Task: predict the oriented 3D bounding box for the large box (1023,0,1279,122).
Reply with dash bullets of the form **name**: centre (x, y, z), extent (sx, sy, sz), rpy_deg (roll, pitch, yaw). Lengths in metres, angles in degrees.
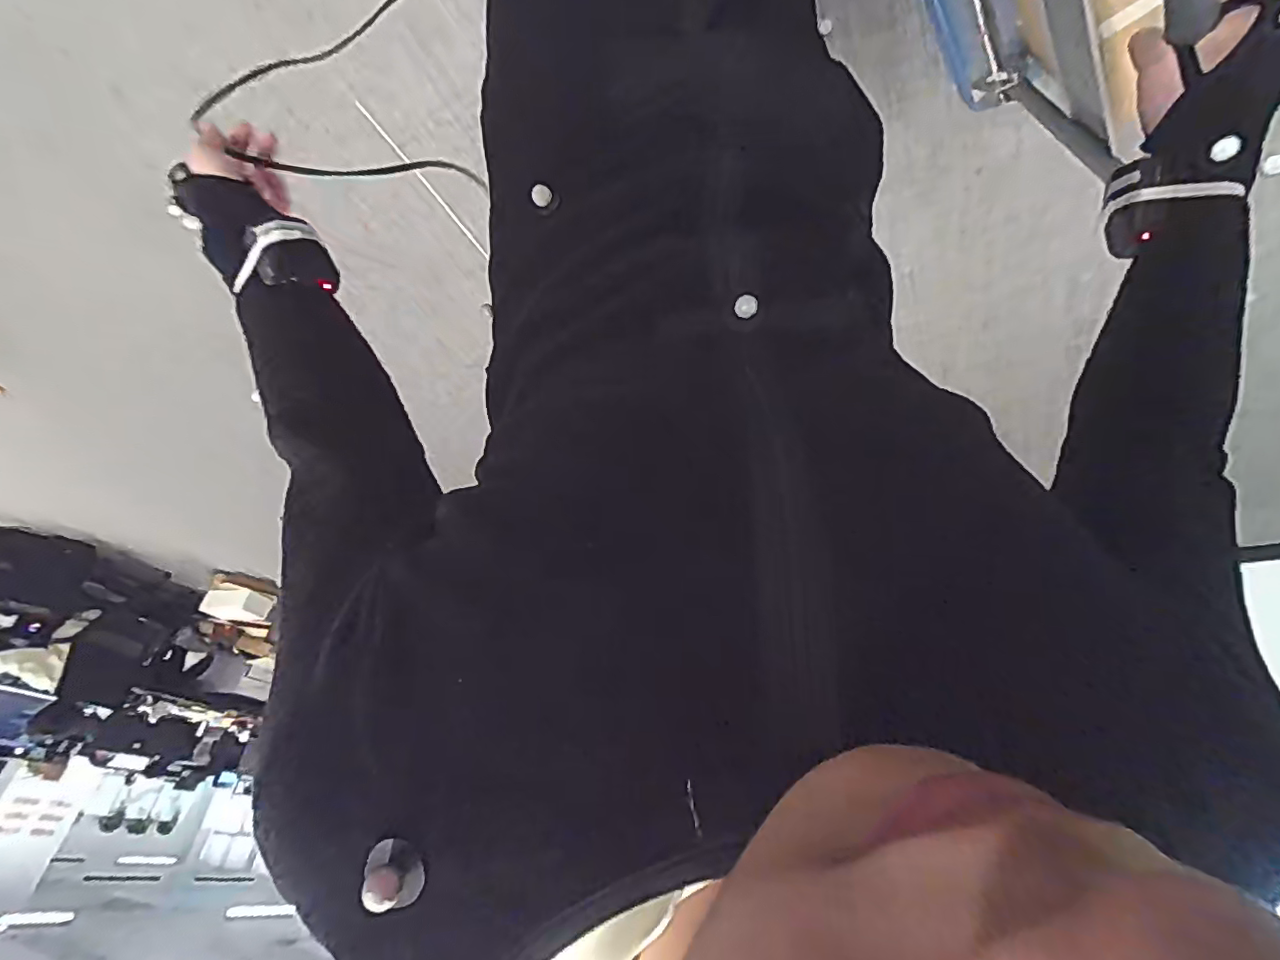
- **large box**: centre (0.736, -0.775, 0.669), extent (0.408, 0.320, 0.320), rpy_deg (-26, 135, 34)
